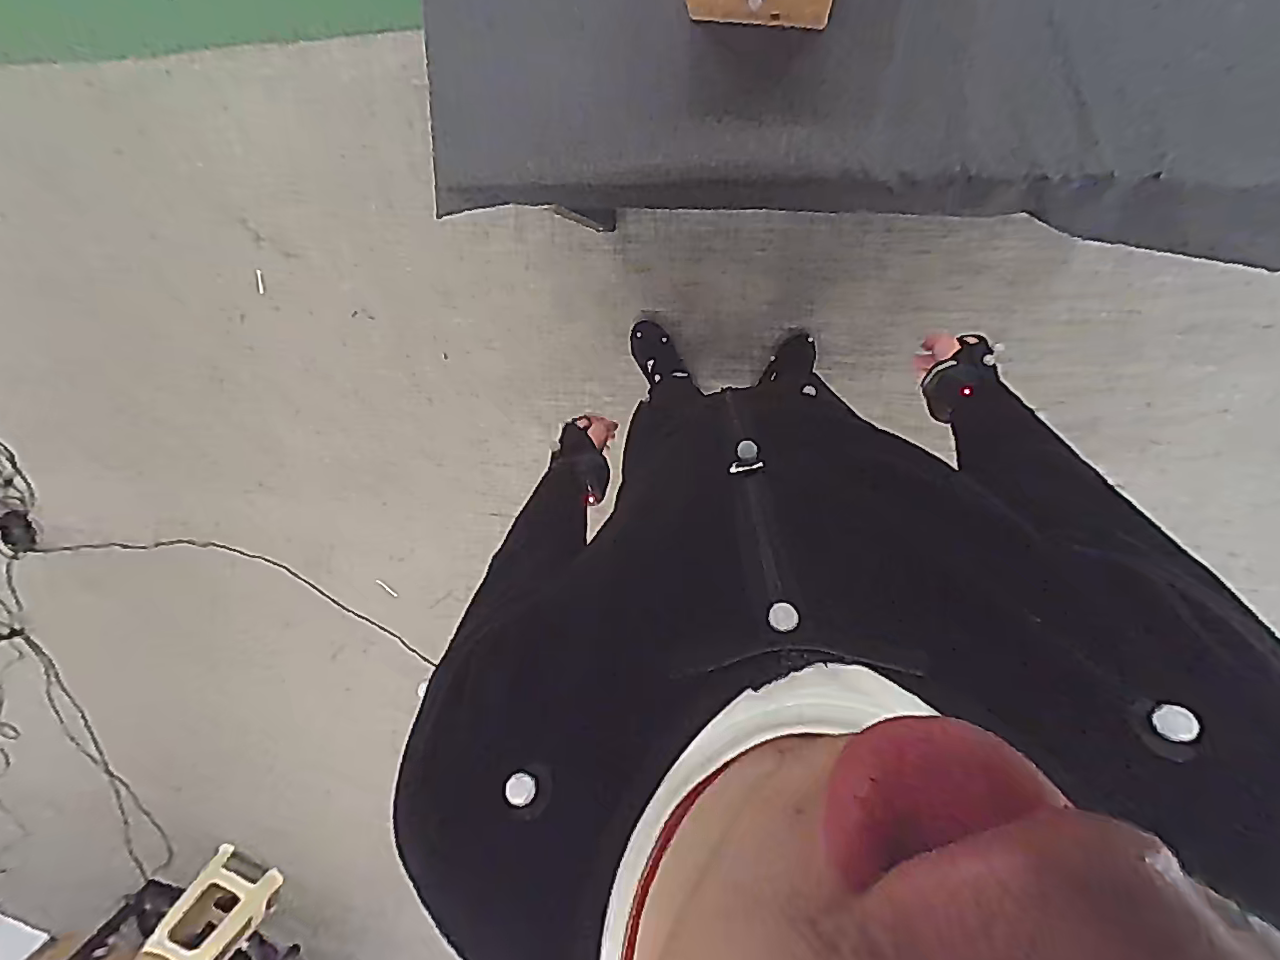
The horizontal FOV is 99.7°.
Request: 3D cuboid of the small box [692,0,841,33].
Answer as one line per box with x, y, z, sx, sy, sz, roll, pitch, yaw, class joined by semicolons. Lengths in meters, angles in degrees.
0.141;-0.600;0.560;0.168;0.176;0.179;8;108;11;small box
